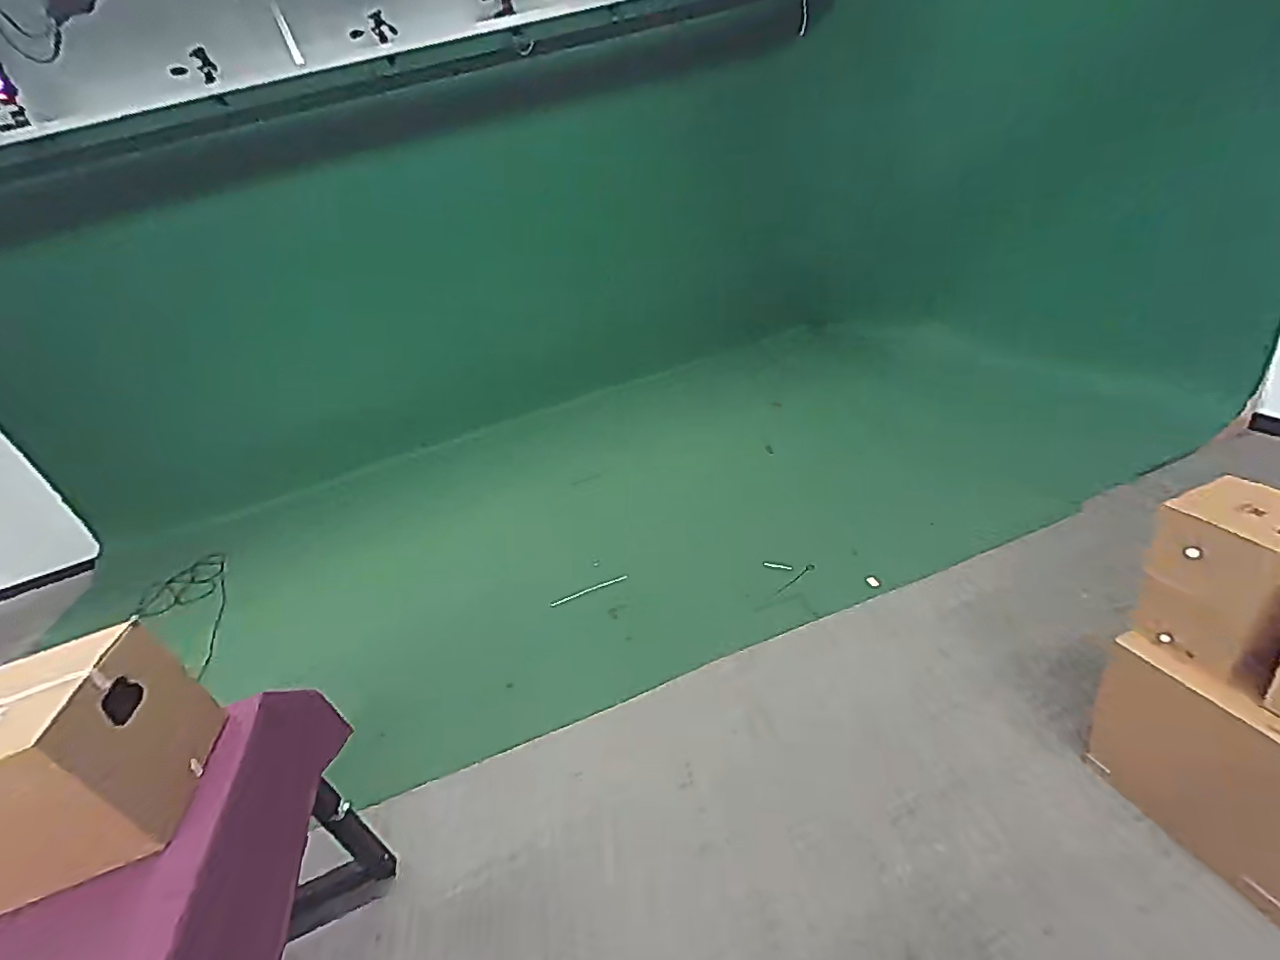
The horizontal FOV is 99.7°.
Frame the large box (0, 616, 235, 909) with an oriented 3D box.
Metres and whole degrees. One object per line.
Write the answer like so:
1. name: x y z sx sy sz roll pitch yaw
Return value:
1. large box: -1.102 0.530 1.013 0.408 0.320 0.320 -19 29 -8
